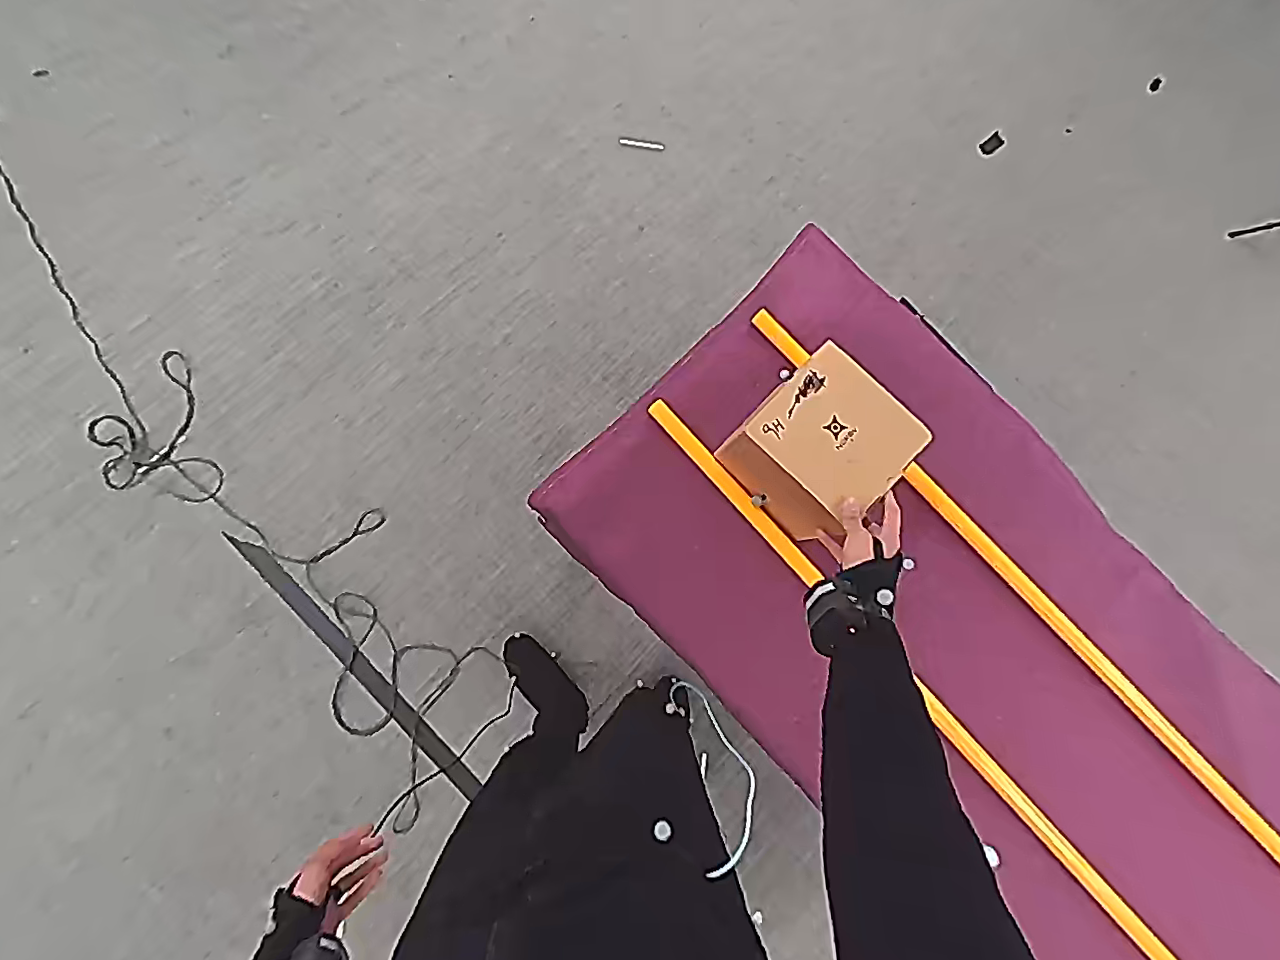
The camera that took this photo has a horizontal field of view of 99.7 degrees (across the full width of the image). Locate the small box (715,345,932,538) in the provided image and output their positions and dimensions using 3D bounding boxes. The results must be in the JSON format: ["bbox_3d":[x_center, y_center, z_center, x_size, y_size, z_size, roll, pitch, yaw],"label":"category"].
[{"bbox_3d":[0.228,-0.039,0.716,0.179,0.176,0.168,45,79,2],"label":"small box"}]
